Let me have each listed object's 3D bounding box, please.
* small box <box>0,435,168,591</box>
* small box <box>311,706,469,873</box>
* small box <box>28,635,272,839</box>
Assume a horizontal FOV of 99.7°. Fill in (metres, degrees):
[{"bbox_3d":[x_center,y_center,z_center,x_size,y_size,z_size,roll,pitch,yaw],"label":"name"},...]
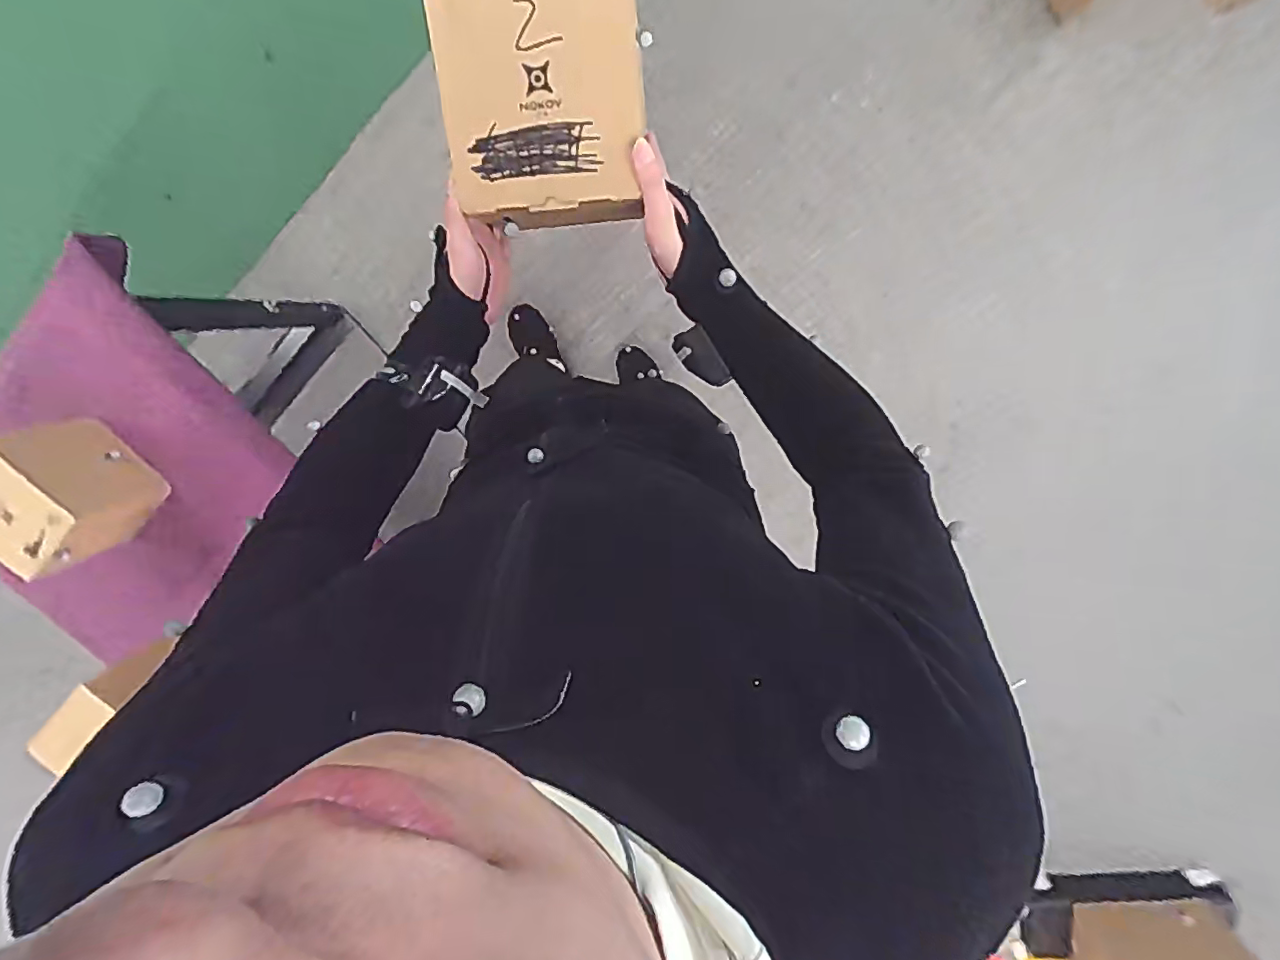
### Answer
[{"bbox_3d":[-0.956,0.042,0.891,0.168,0.176,0.179,-40,100,14],"label":"small box"},{"bbox_3d":[-0.451,0.566,1.005,0.179,0.176,0.168,-43,99,14],"label":"small box"},{"bbox_3d":[-0.701,0.367,0.797,0.168,0.176,0.179,-42,99,13],"label":"small box"}]
